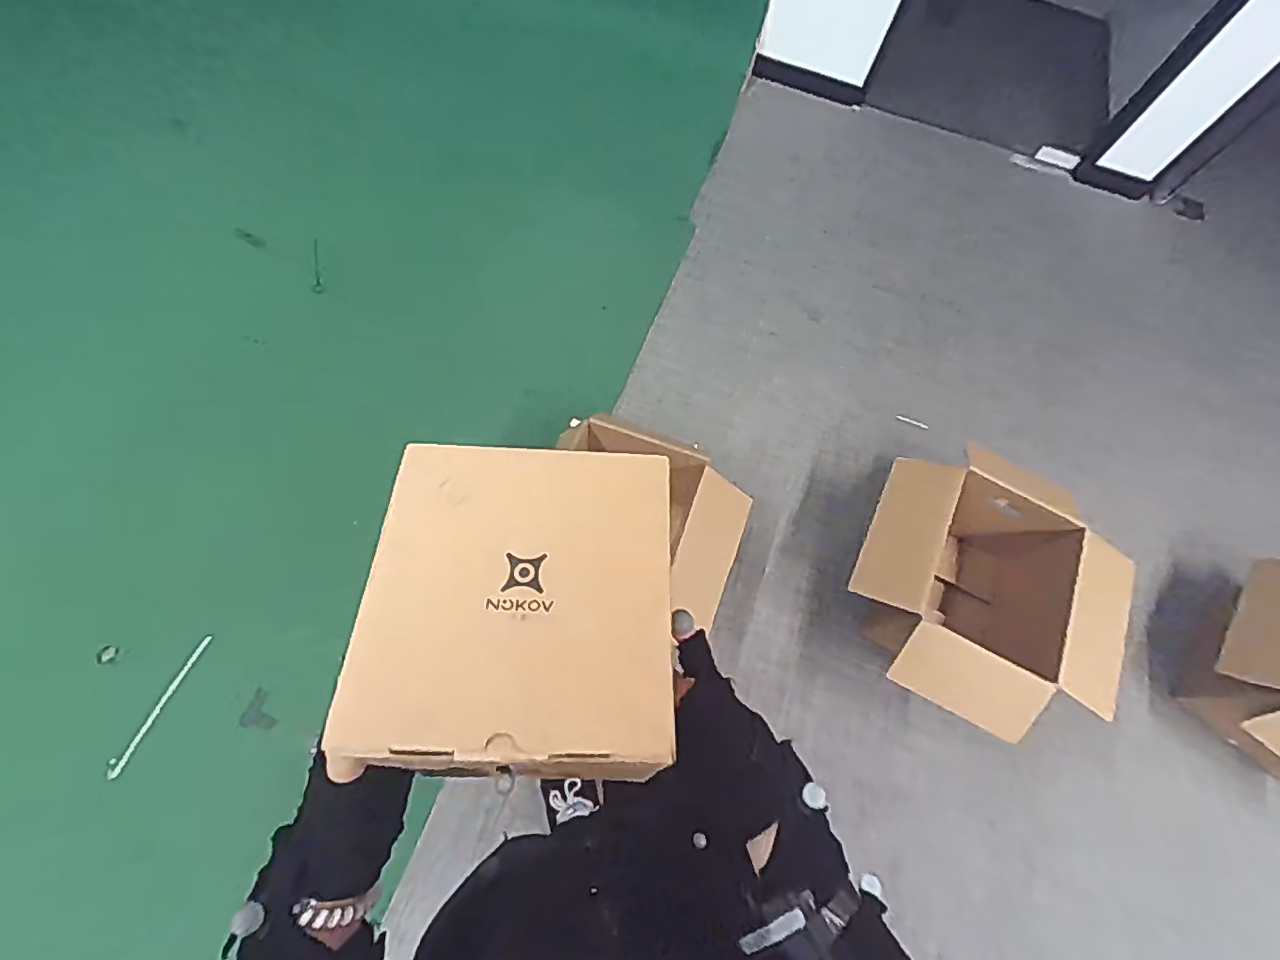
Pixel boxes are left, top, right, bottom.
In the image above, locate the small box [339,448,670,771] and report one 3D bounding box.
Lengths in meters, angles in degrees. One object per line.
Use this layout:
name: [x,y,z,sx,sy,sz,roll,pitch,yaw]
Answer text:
small box: [-0.070,0.098,0.377,0.168,0.176,0.179,2,59,-3]
